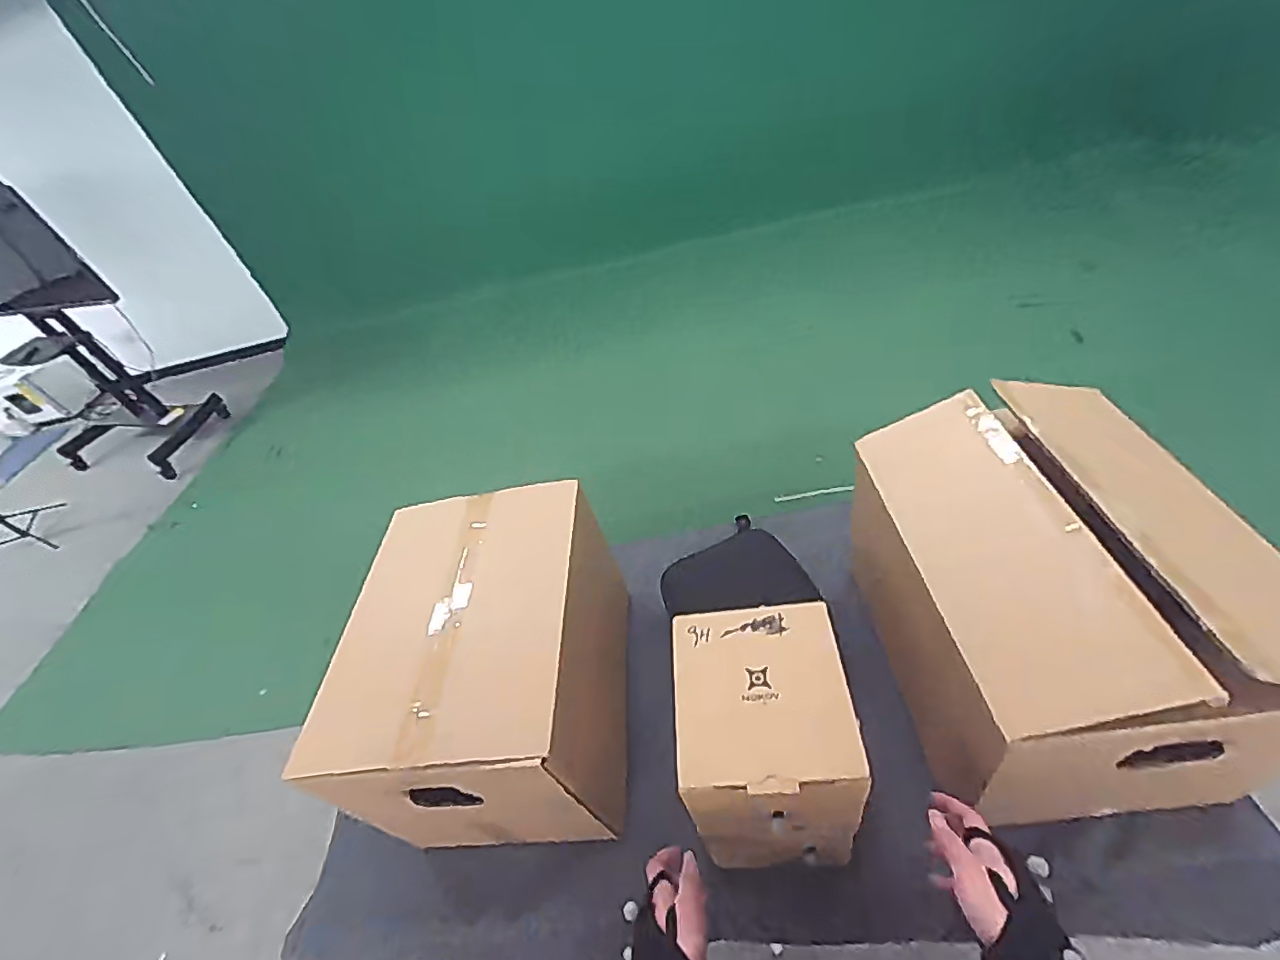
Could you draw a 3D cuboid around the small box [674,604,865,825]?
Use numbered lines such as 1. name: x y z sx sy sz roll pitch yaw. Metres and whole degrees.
1. small box: 0.133 0.259 0.585 0.168 0.176 0.179 -8 45 9
